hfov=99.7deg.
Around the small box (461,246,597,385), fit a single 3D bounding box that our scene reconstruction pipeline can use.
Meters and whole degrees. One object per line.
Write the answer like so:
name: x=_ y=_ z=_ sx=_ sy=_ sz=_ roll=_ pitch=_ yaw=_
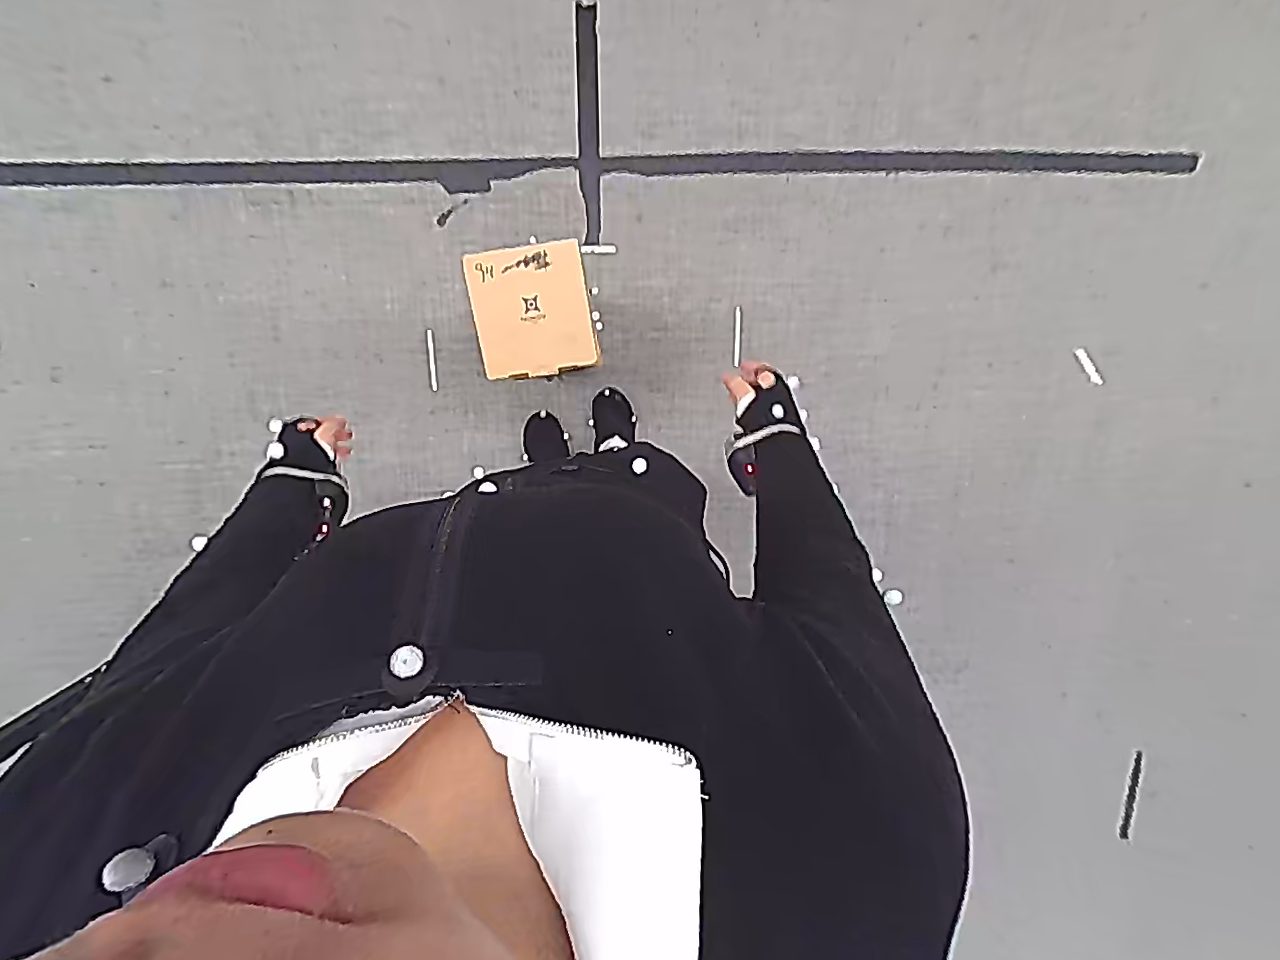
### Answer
small box: x=-0.160 y=-0.251 z=0.845 sx=0.168 sy=0.176 sz=0.179 roll=-9 pitch=104 yaw=-1
